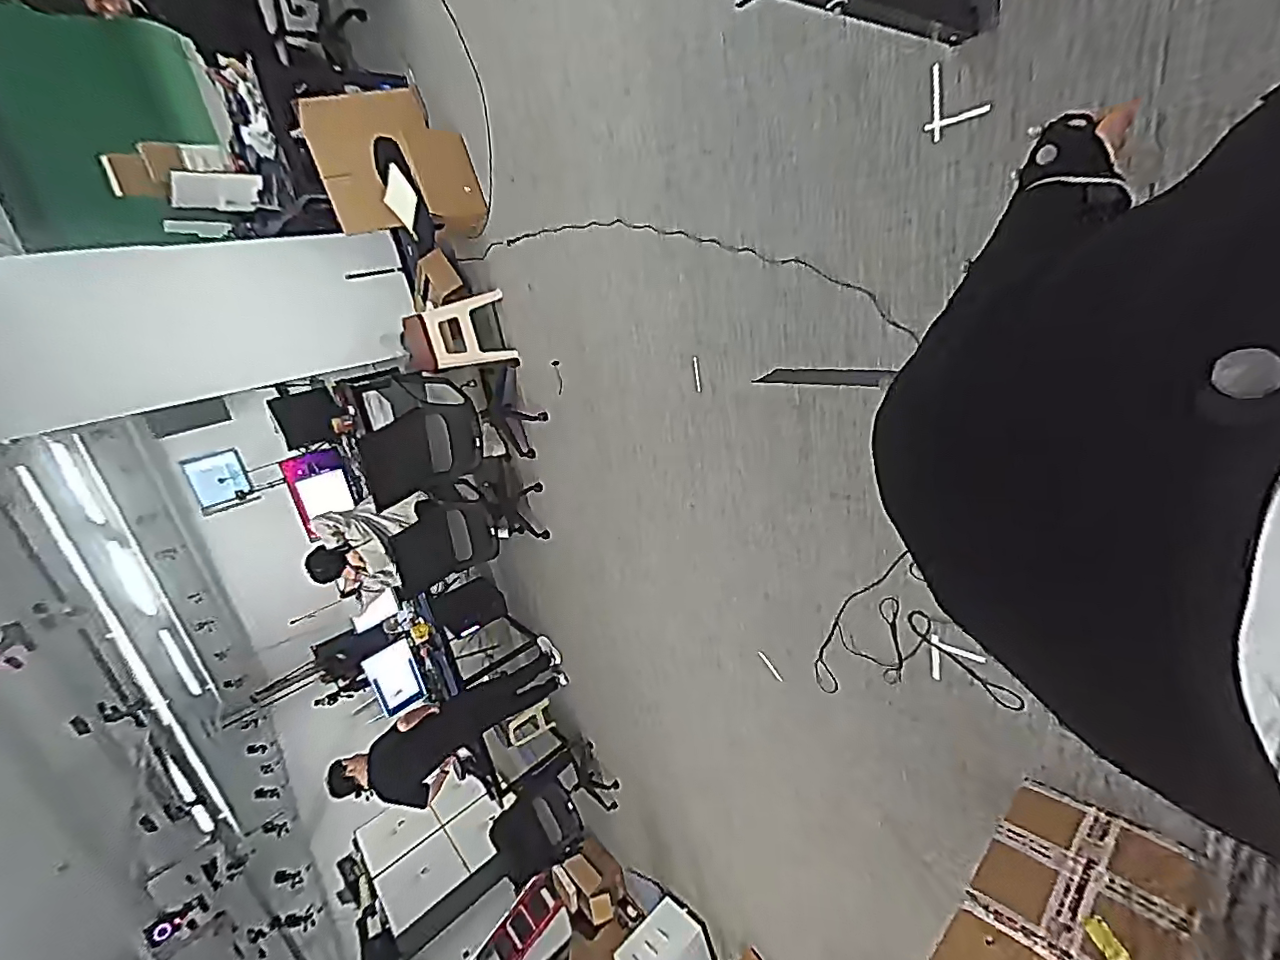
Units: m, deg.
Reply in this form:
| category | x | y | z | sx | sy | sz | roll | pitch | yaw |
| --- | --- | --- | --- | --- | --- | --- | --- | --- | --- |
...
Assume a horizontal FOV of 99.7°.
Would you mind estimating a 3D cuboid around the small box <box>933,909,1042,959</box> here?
| category | x | y | z | sx | sy | sz | roll | pitch | yaw |
| --- | --- | --- | --- | --- | --- | --- | --- | --- | --- |
| small box | 0.846 | 1.203 | 1.313 | 0.179 | 0.176 | 0.168 | 3 | 109 | 53 |
